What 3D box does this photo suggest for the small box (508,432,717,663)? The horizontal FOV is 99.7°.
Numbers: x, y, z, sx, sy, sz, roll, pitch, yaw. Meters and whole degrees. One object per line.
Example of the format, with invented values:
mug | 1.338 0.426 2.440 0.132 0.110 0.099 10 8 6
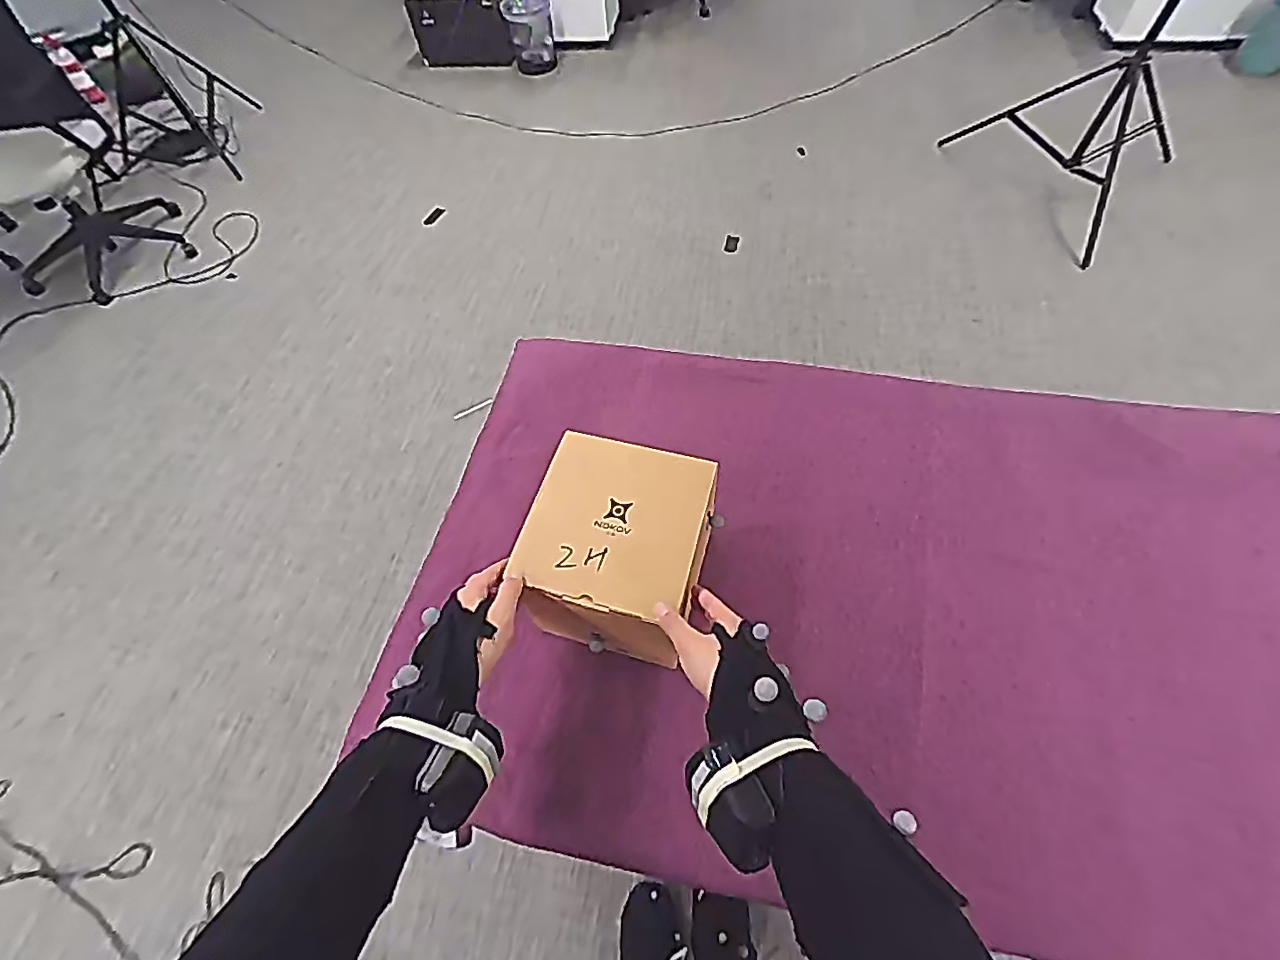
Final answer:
small box | -0.019 0.078 0.593 0.168 0.176 0.179 12 60 11
